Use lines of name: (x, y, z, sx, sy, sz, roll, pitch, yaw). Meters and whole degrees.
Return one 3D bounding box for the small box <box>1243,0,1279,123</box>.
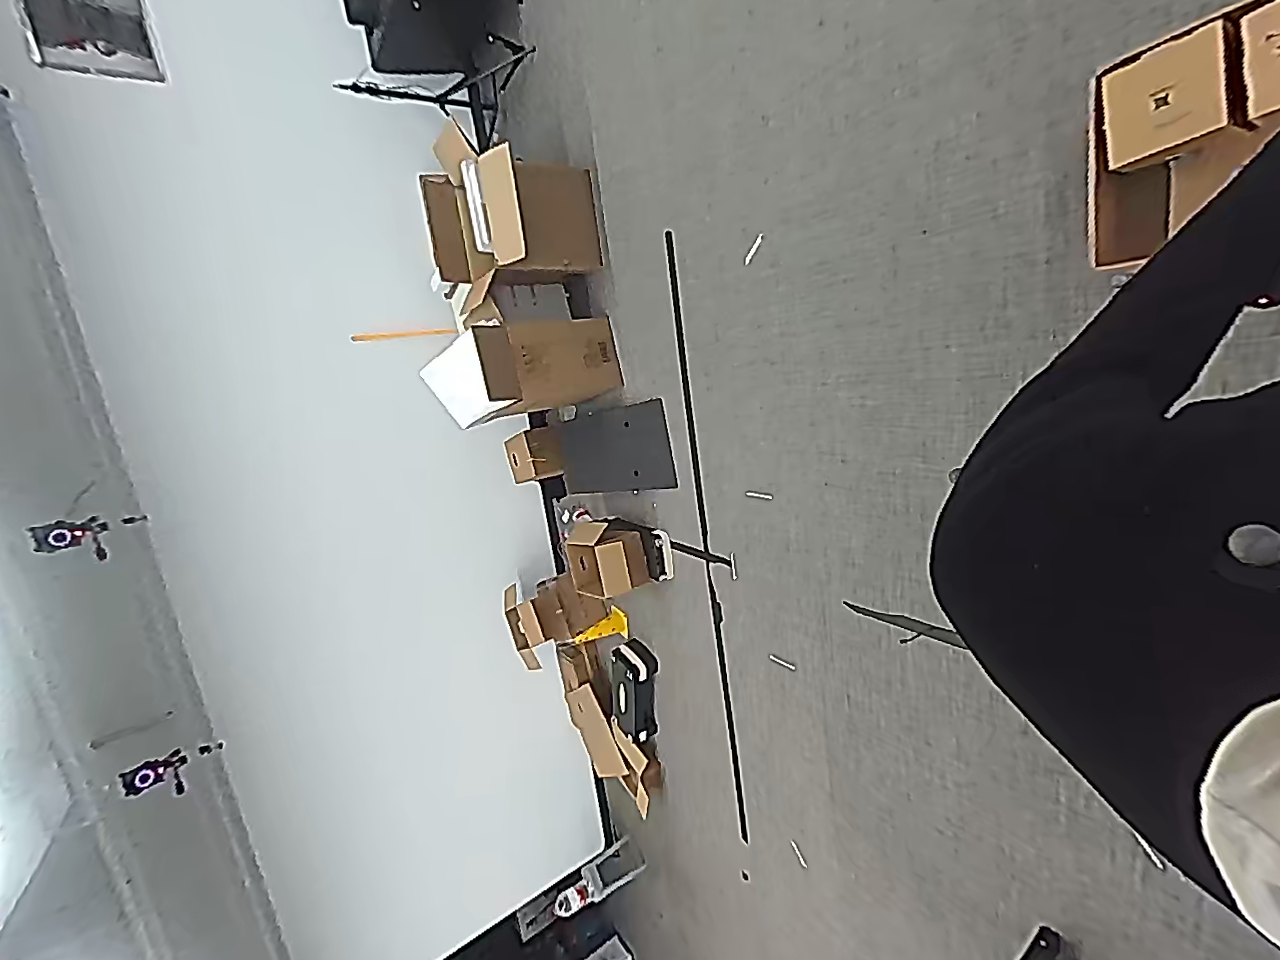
small box: (1.116, -0.707, 0.865, 0.179, 0.176, 0.168, -2, 102, 57)
